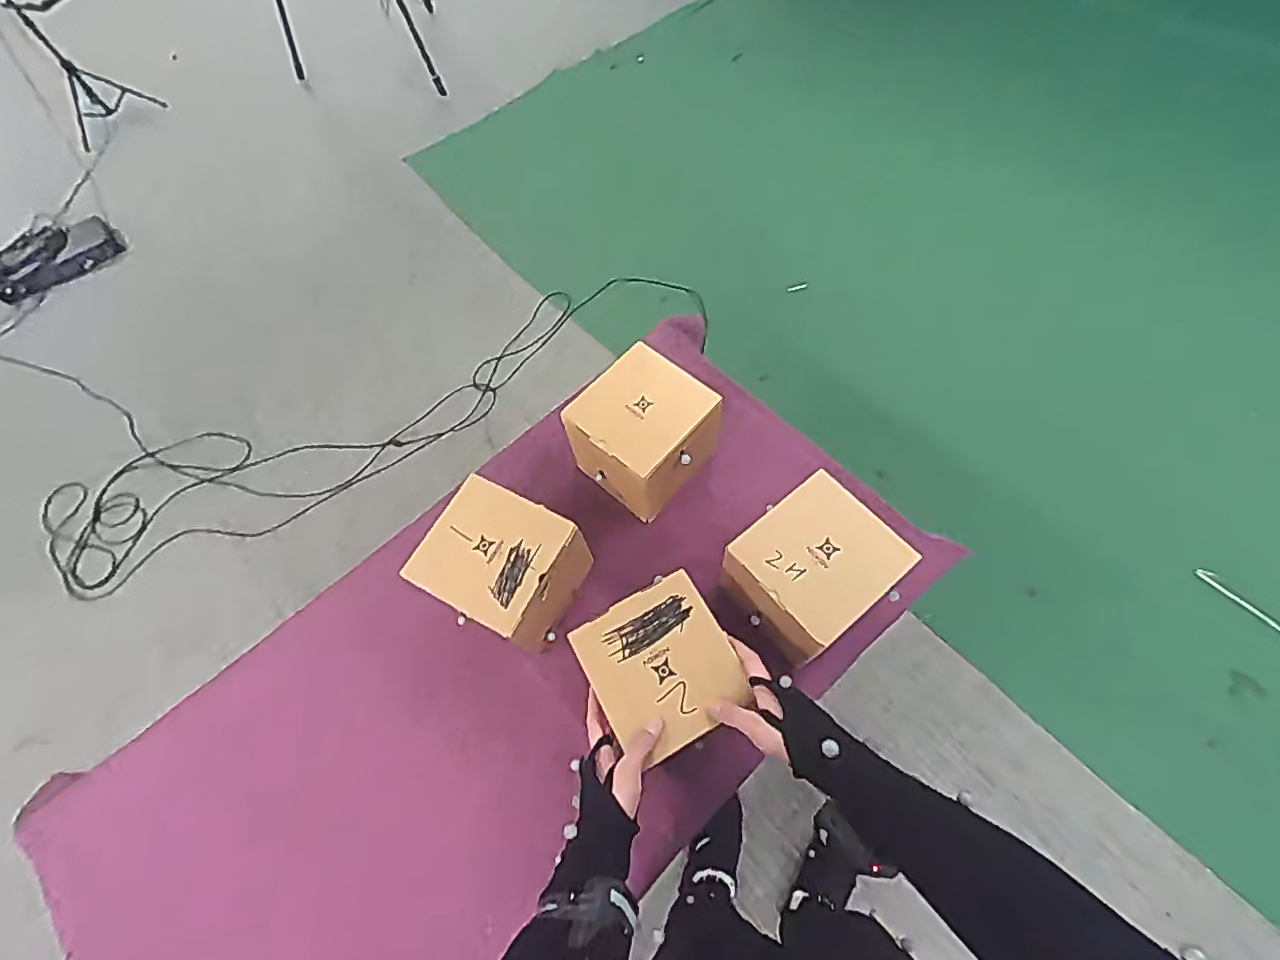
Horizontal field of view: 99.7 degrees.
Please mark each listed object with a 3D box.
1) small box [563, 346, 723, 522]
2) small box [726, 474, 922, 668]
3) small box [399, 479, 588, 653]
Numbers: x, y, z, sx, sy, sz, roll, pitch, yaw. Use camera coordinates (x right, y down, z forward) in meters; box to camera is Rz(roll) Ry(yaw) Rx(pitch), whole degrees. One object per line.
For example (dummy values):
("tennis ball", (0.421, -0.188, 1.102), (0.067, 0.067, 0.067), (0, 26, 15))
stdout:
("small box", (0.007, -0.066, 0.847), (0.168, 0.176, 0.179), (38, 74, 19))
("small box", (0.231, 0.129, 0.733), (0.179, 0.176, 0.168), (-37, 66, -12))
("small box", (-0.191, 0.130, 0.768), (0.179, 0.176, 0.168), (24, 69, 15))
